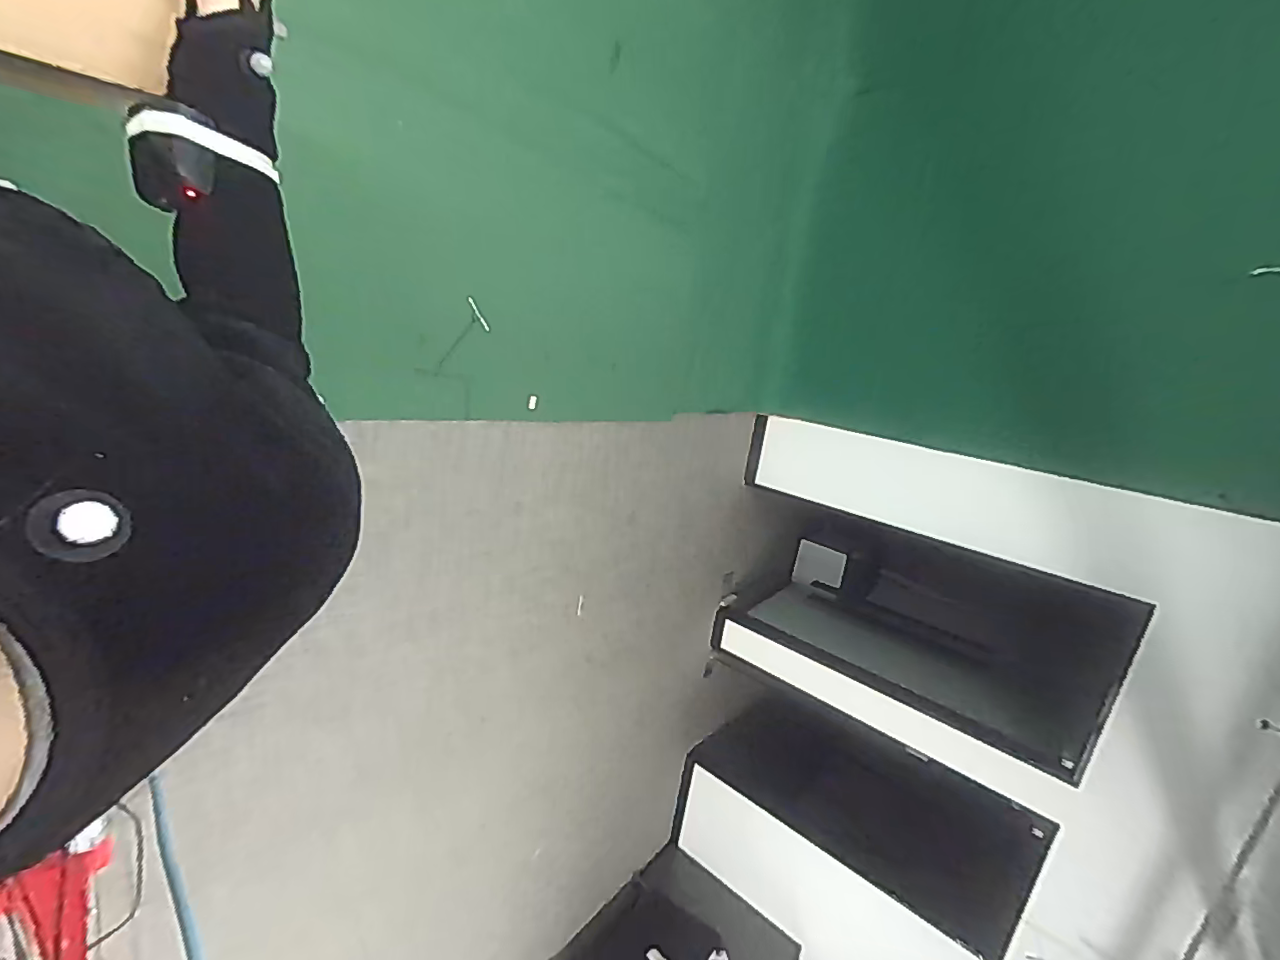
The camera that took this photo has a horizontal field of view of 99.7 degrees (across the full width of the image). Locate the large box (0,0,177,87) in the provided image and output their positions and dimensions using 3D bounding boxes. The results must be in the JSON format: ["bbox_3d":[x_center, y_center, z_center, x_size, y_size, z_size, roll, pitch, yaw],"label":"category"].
[{"bbox_3d":[-0.580,-0.473,0.305,0.408,0.320,0.320,-17,125,-52],"label":"large box"}]
